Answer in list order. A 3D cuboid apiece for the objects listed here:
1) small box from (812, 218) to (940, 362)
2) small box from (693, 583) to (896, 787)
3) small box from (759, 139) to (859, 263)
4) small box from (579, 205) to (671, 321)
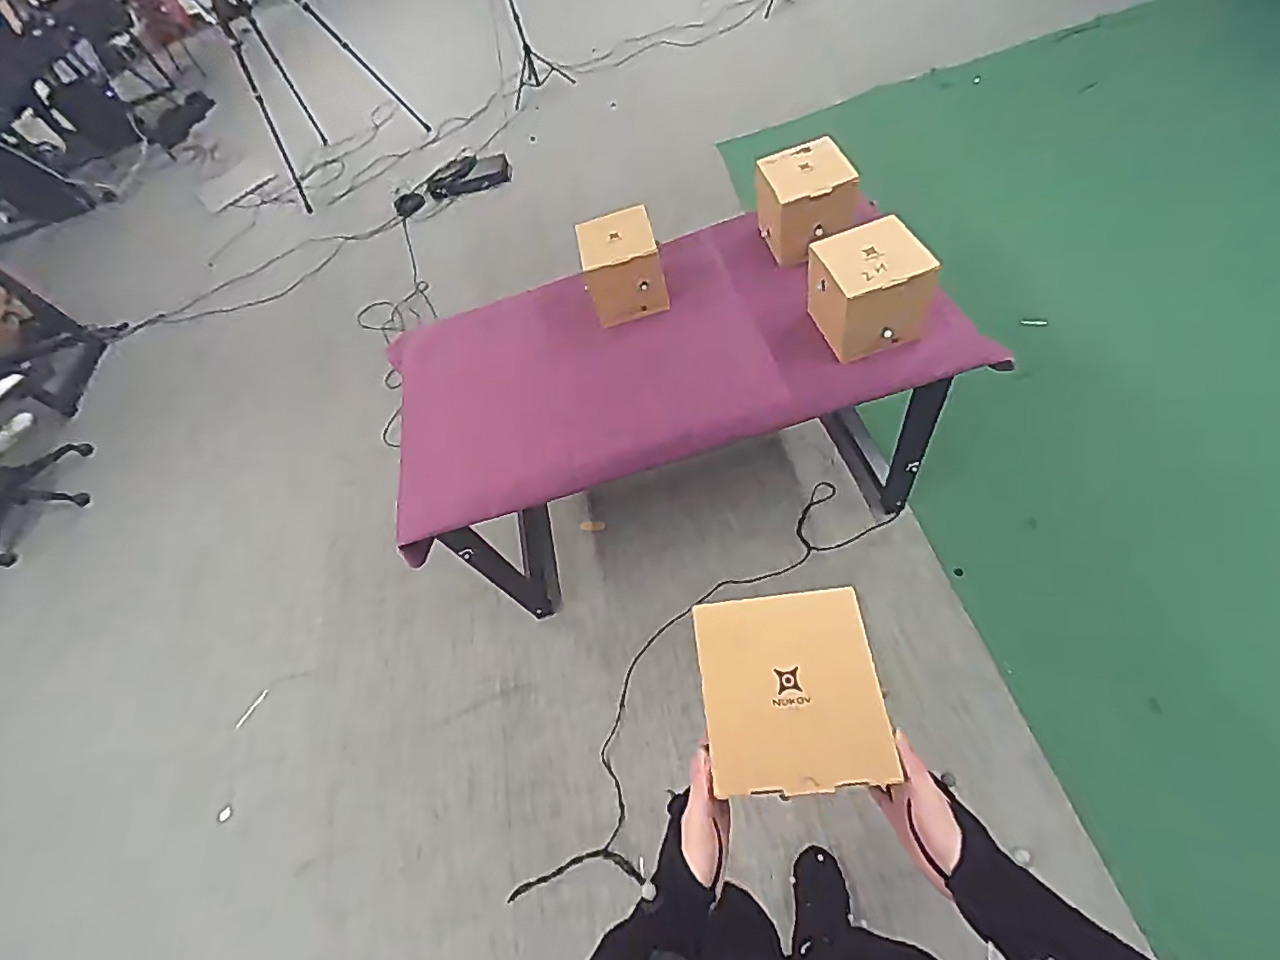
[{"bbox_3d":[0.440,-0.362,1.043,0.168,0.176,0.179,-18,56,6],"label":"small box"},{"bbox_3d":[0.148,0.225,0.587,0.168,0.176,0.179,-7,64,5],"label":"small box"},{"bbox_3d":[0.374,-0.617,1.218,0.168,0.176,0.179,-16,59,5],"label":"small box"},{"bbox_3d":[-0.032,-0.492,1.252,0.168,0.176,0.179,-14,57,5],"label":"small box"}]
